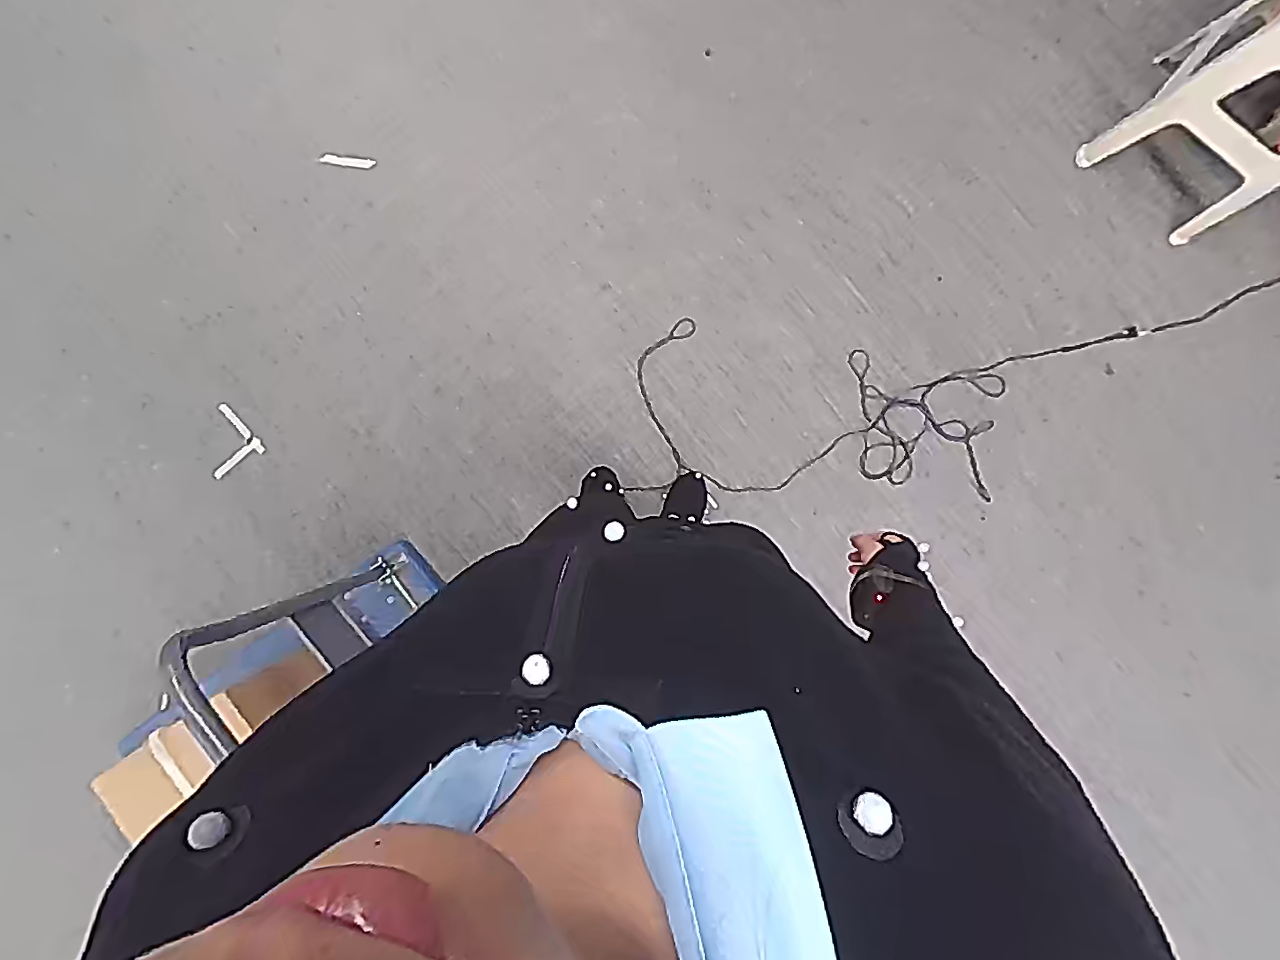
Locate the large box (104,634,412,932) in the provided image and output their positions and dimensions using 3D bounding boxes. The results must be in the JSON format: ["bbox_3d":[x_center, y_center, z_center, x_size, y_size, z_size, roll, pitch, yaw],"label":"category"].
[{"bbox_3d":[-0.792,0.622,1.184,0.320,0.320,0.408,-34,92,1],"label":"large box"}]
